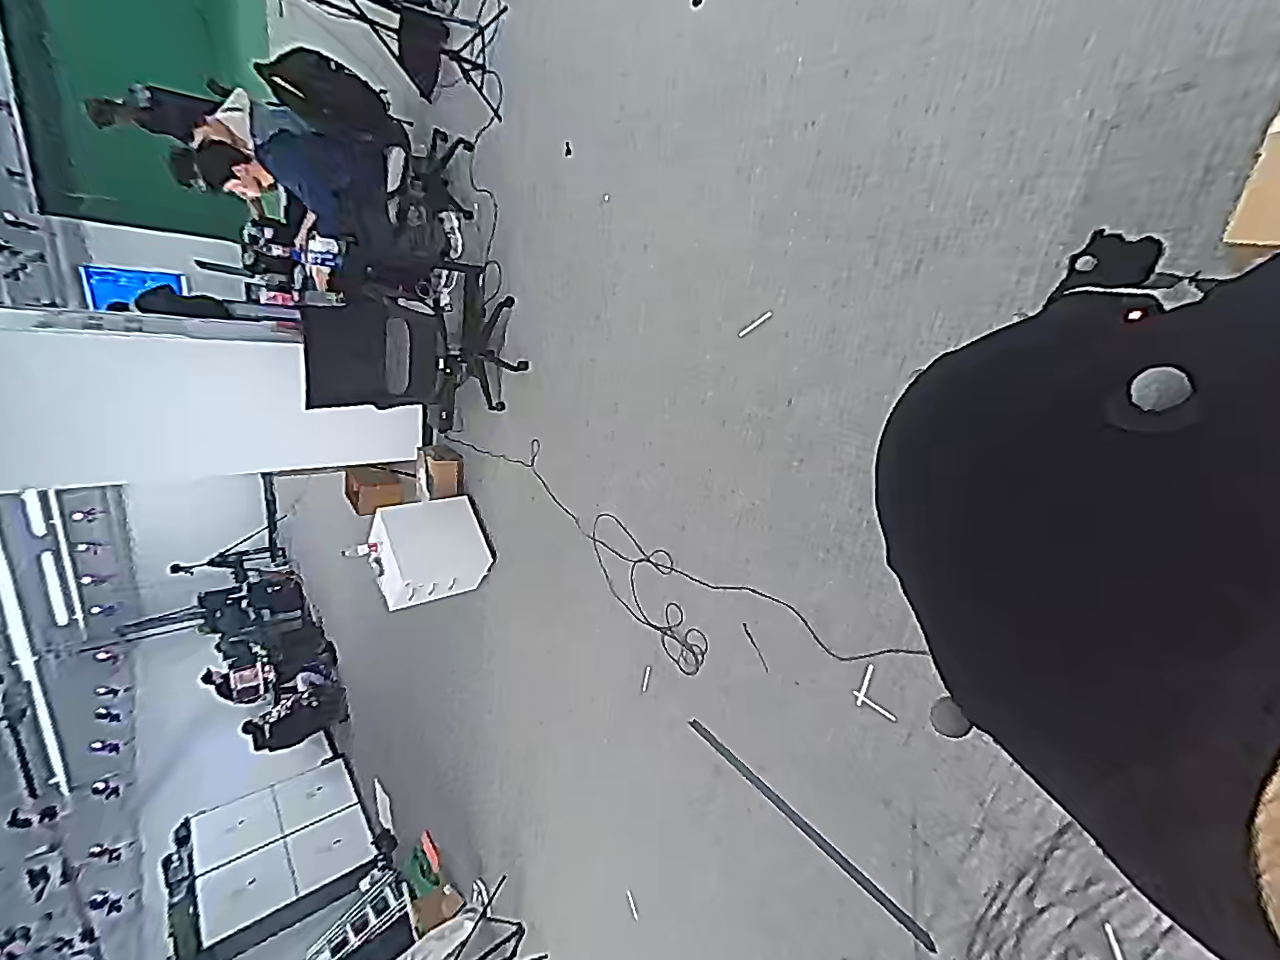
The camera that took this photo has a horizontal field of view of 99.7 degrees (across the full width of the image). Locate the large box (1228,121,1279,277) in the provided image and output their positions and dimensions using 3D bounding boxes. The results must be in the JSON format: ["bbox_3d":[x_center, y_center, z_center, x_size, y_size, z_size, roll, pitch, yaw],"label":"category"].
[{"bbox_3d":[1.135,-0.448,0.727,0.408,0.320,0.320,27,117,42],"label":"large box"}]
